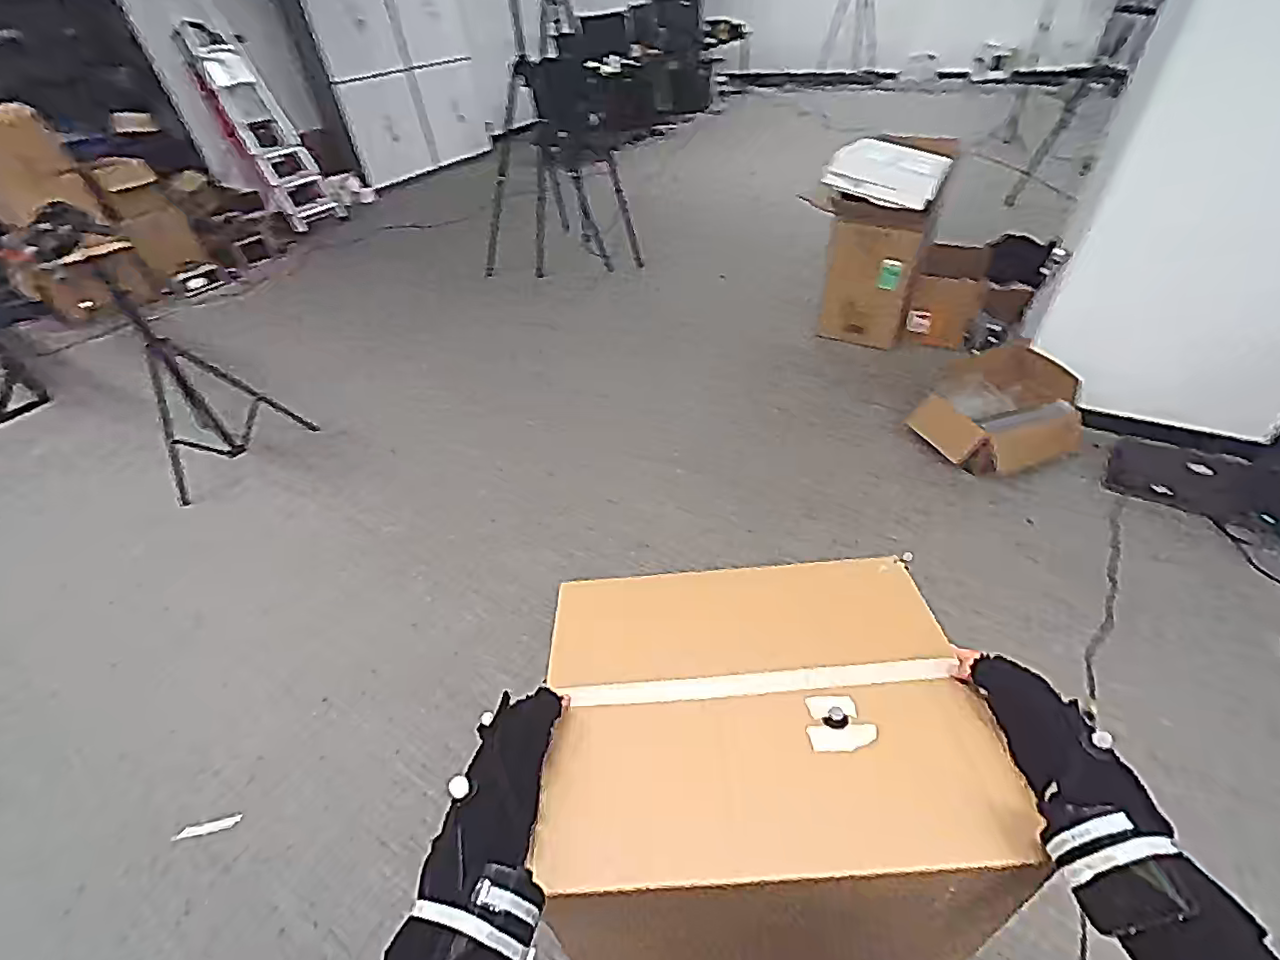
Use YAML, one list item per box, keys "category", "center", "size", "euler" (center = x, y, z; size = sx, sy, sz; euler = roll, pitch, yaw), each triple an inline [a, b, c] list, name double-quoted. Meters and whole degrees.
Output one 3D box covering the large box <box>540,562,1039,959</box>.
- category: "large box"
  center: [0.122, 0.329, 0.627]
  size: [0.408, 0.320, 0.320]
  euler: [-5, 37, 2]
